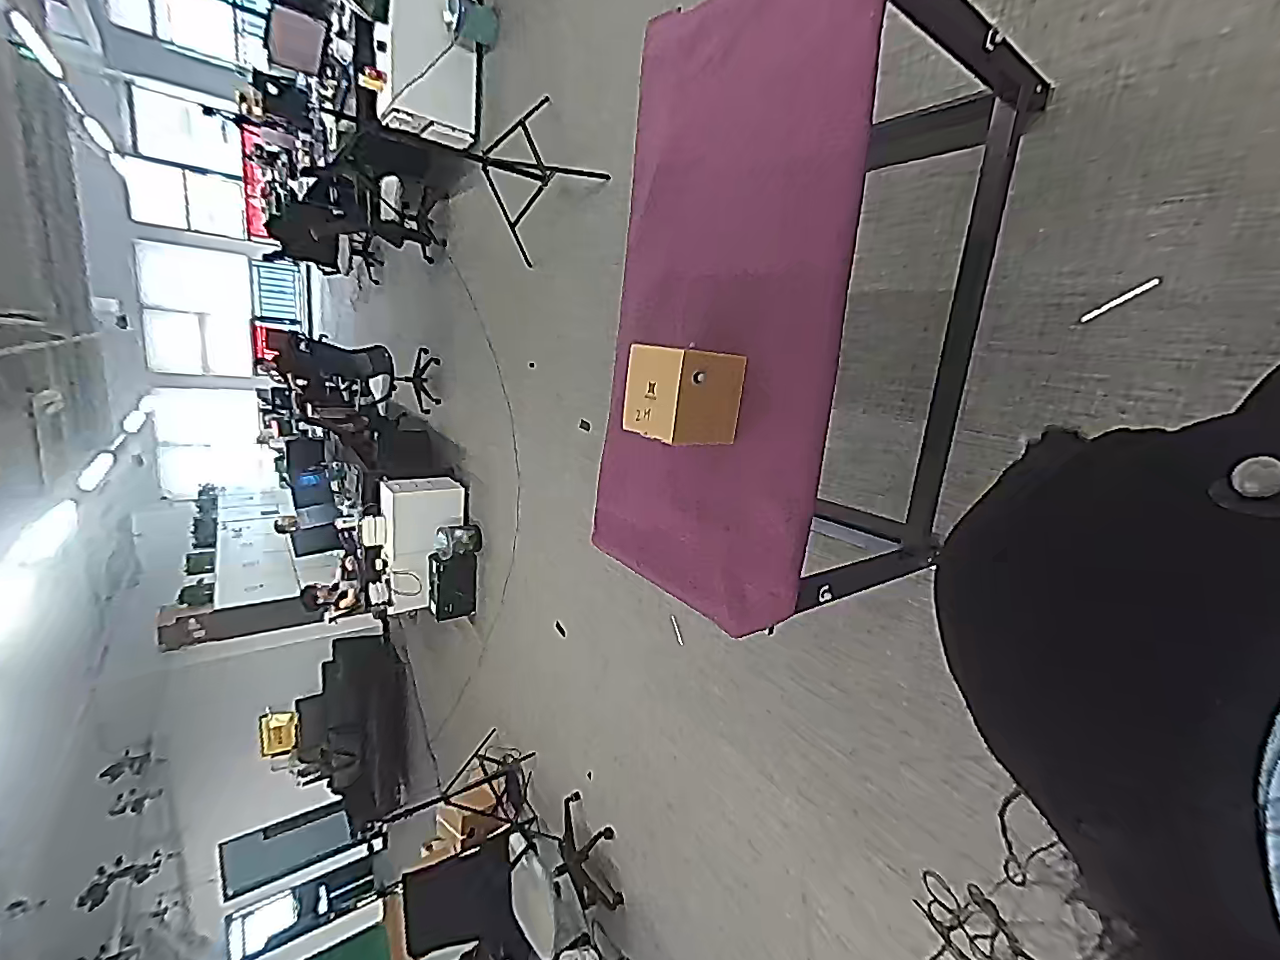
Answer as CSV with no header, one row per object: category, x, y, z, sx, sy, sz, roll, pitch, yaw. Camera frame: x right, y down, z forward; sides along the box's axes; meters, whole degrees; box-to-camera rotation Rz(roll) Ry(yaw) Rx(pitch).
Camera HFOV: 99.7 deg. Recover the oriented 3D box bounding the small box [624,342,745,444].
small box,0.090,-0.176,1.089,0.168,0.176,0.179,25,114,51
